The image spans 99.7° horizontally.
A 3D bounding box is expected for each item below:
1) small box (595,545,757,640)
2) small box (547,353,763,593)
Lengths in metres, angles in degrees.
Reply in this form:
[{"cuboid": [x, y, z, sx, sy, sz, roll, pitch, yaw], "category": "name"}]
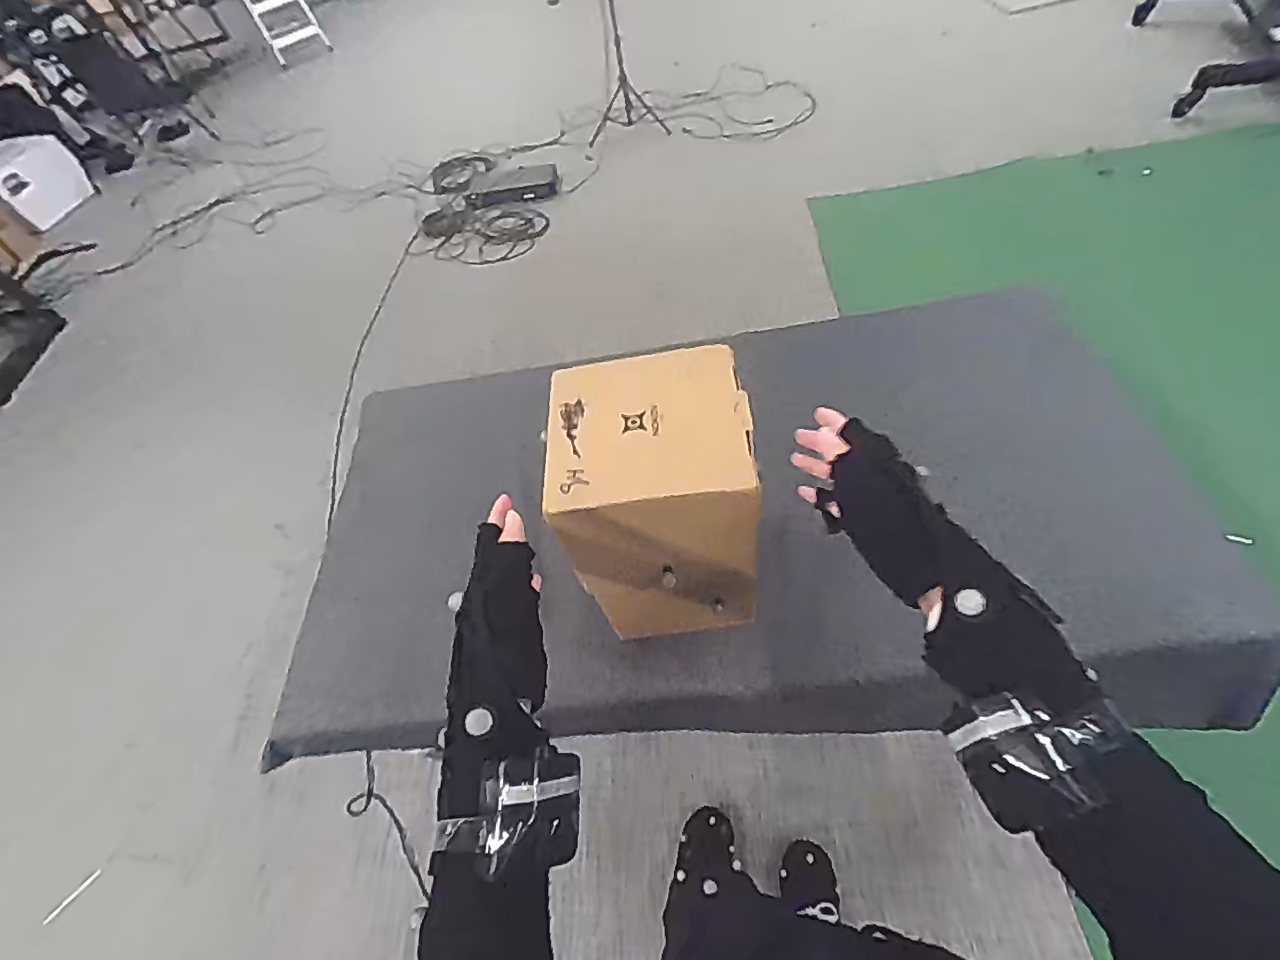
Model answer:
[{"cuboid": [0.043, 0.086, 0.677, 0.179, 0.176, 0.168, -10, 54, 5], "category": "small box"}, {"cuboid": [0.018, 0.000, 0.539, 0.179, 0.176, 0.168, -6, 53, 5], "category": "small box"}]
